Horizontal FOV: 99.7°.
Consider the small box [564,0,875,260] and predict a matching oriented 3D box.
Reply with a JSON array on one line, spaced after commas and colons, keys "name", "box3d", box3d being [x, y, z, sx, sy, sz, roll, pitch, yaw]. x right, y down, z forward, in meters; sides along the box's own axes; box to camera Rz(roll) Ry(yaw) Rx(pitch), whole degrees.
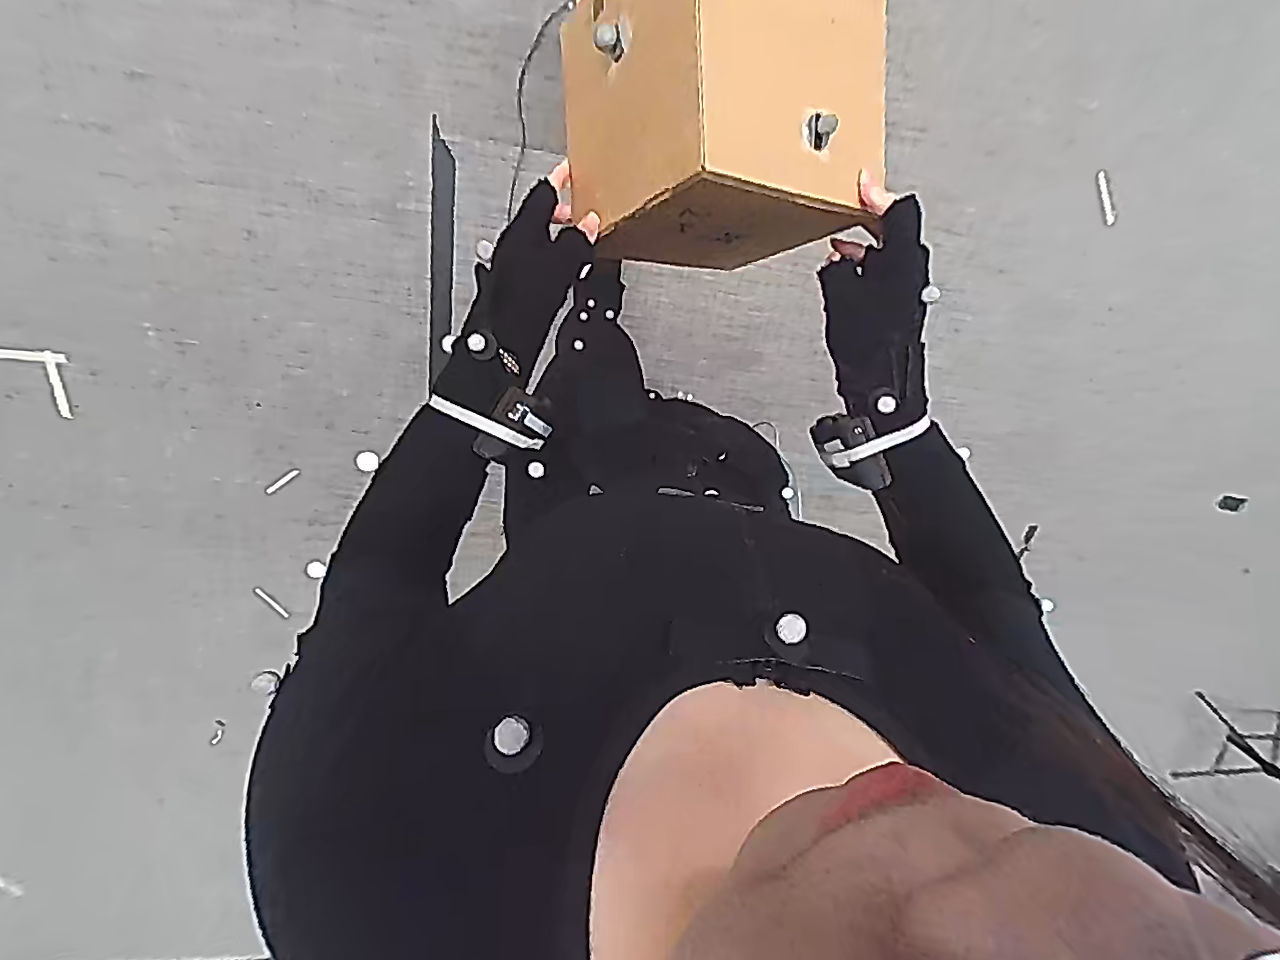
[{"name": "small box", "box3d": [0.057, -0.281, 0.408, 0.179, 0.168, 0.176, -7, 98, -33]}]
